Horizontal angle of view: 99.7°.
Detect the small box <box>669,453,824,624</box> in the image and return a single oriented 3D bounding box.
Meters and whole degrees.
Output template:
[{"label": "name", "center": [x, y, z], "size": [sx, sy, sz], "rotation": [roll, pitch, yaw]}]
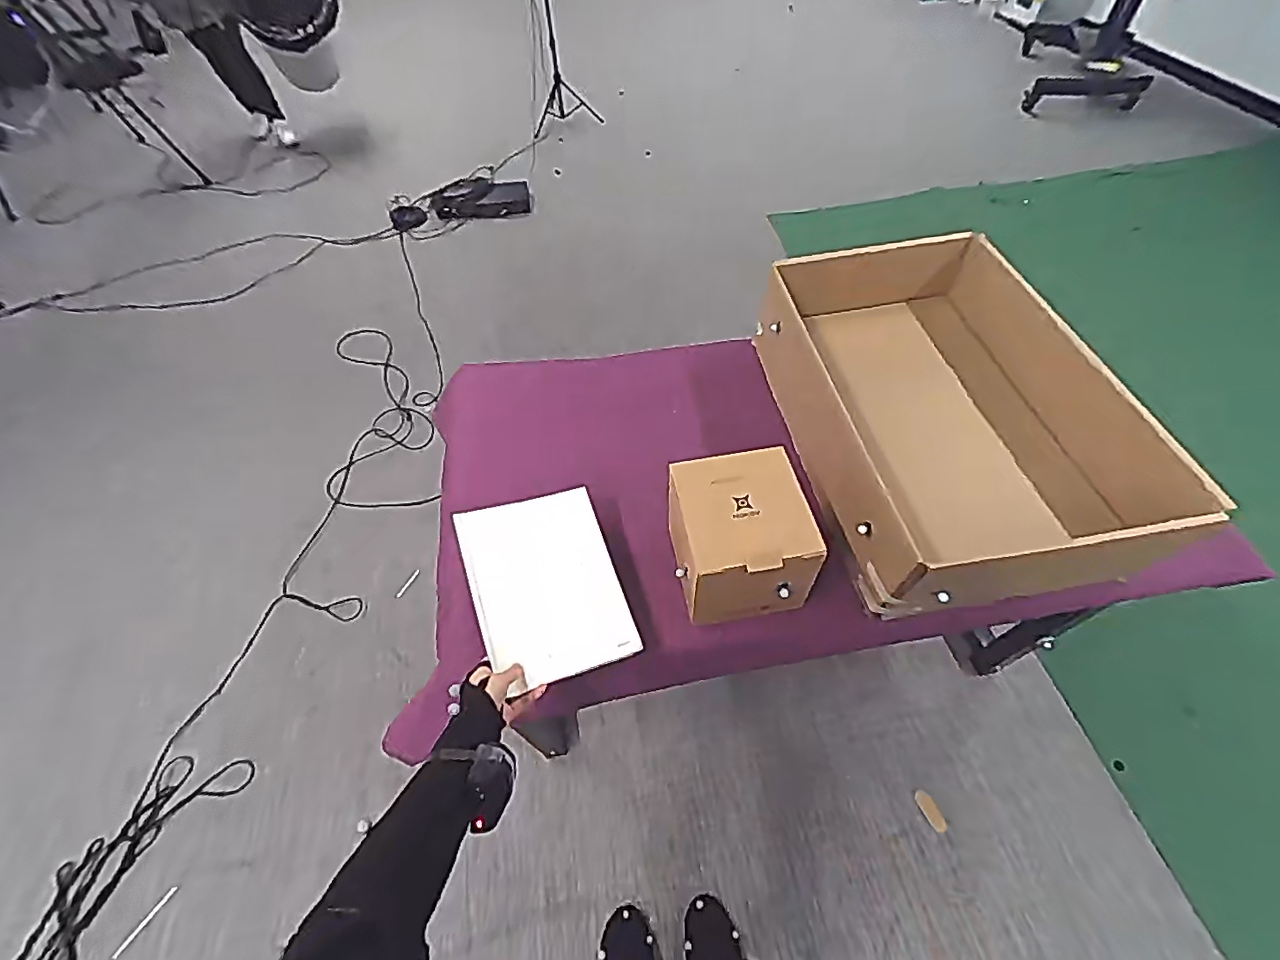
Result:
[{"label": "small box", "center": [0.137, 0.090, 0.765], "size": [0.168, 0.176, 0.179], "rotation": [-8, 52, -4]}]
